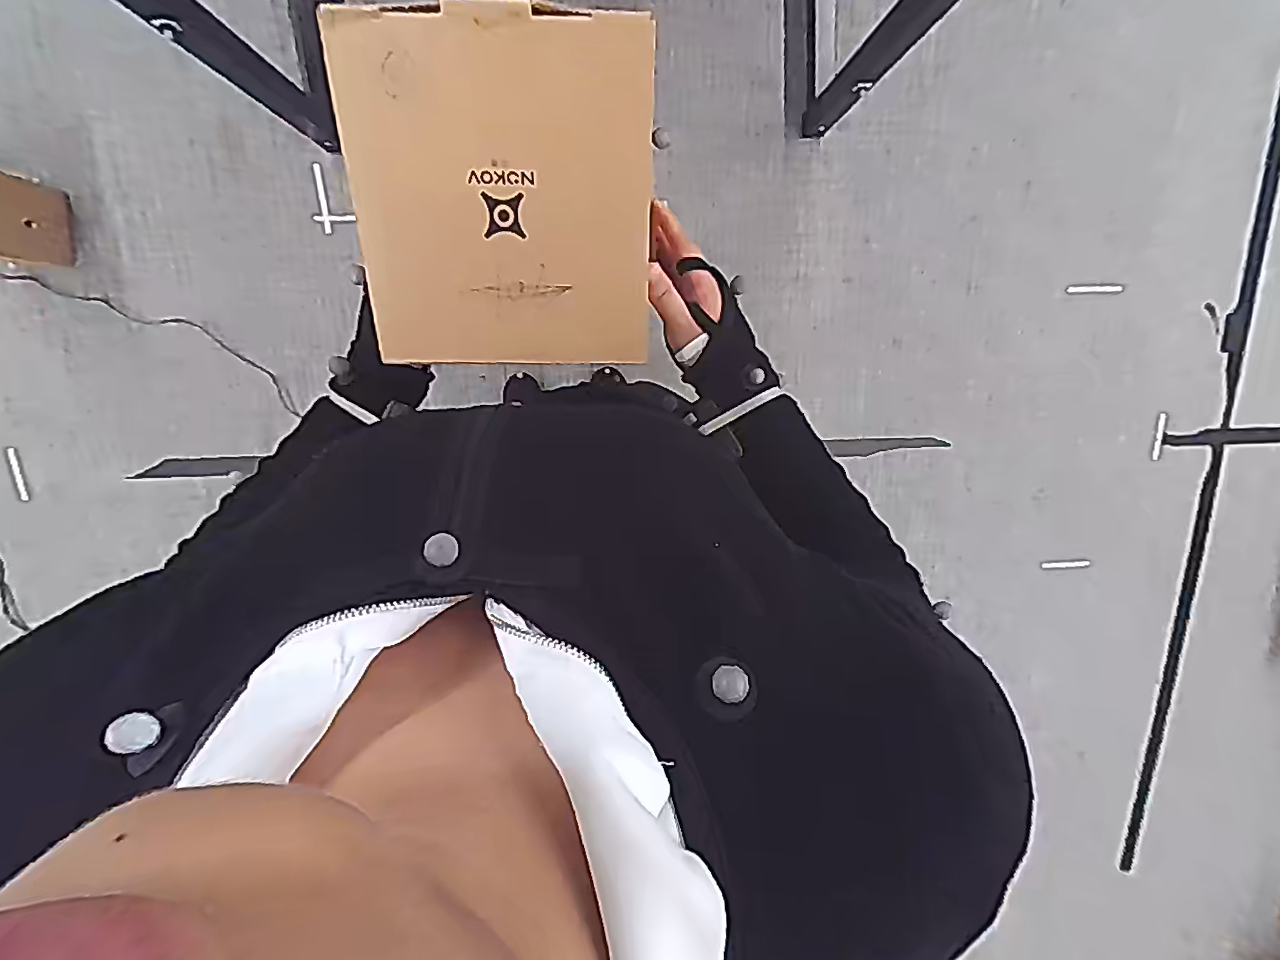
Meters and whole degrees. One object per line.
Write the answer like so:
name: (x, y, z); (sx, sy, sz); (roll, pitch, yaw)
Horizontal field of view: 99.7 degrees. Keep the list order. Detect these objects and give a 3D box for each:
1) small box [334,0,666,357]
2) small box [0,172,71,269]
small box: (-0.074, -0.190, 0.373); (0.168, 0.176, 0.179); (1, 116, -2)
small box: (-1.417, -0.575, 1.183); (0.168, 0.176, 0.179); (5, 103, -5)
